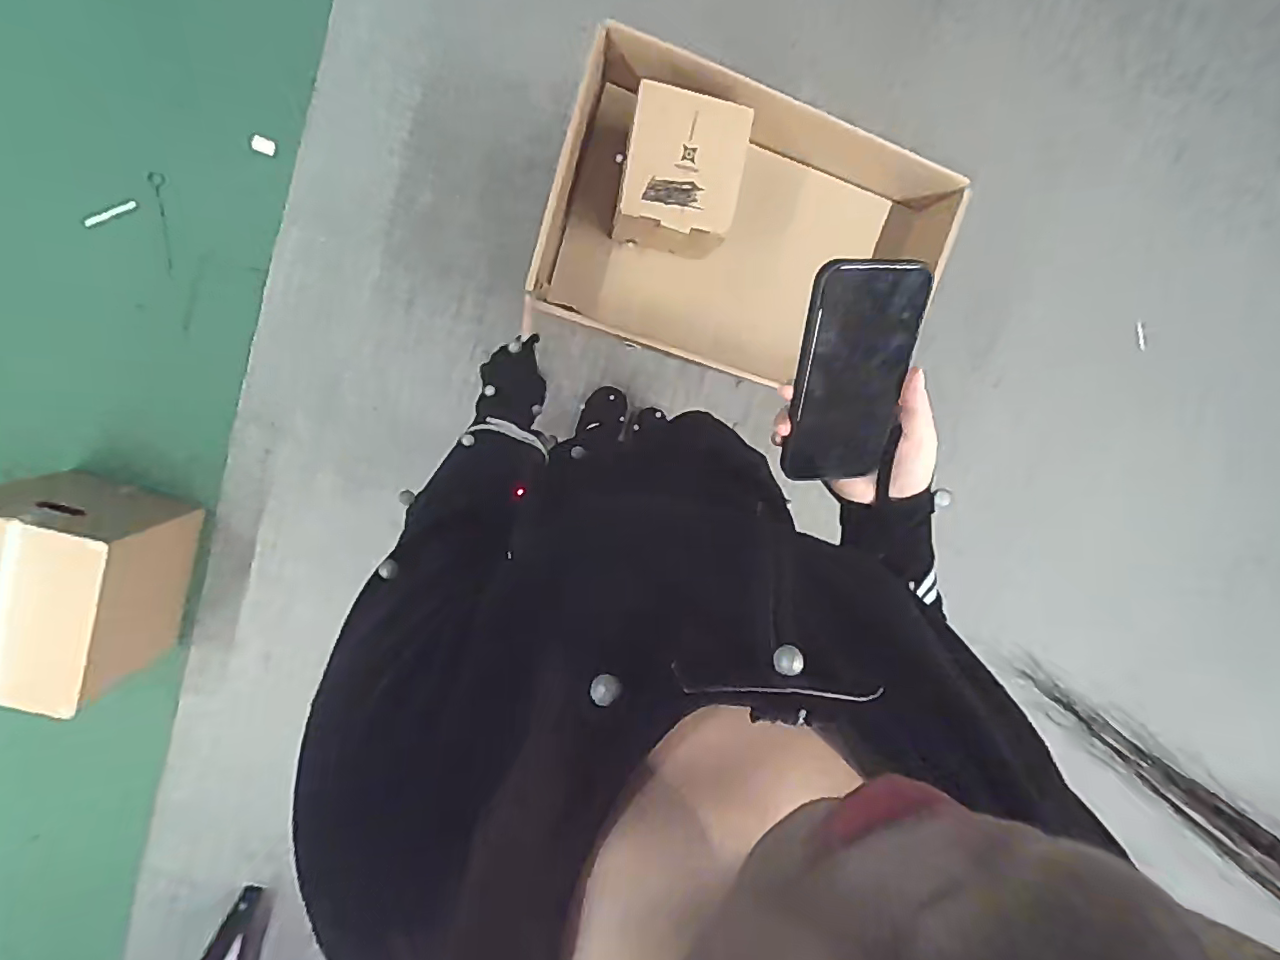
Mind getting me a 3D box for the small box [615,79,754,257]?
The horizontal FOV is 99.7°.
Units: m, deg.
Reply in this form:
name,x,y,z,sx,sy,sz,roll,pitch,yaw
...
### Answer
name,x,y,z,sx,sy,sz,roll,pitch,yaw
small box,0.057,-0.461,0.834,0.168,0.176,0.179,9,99,-9
